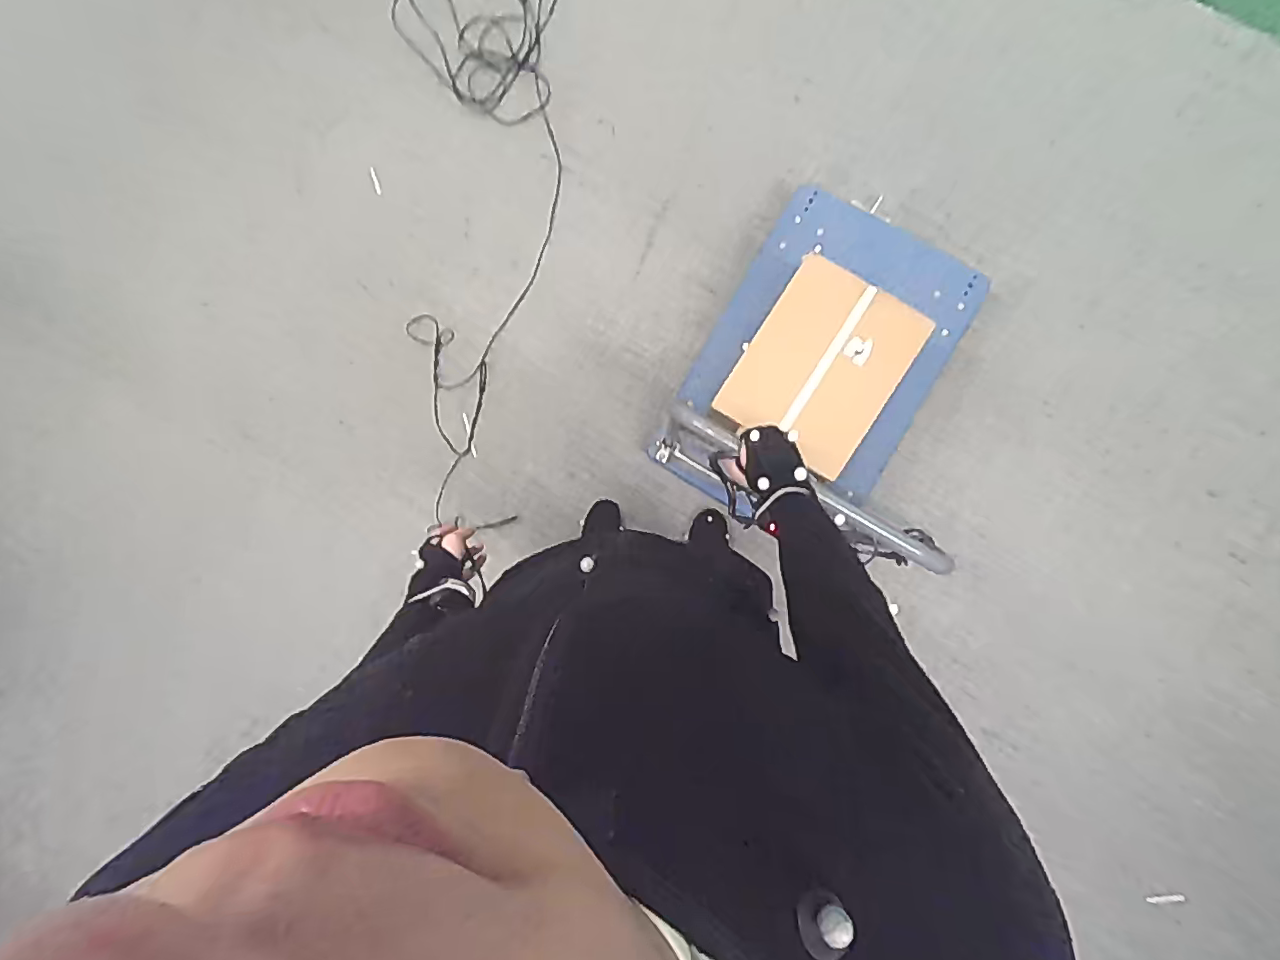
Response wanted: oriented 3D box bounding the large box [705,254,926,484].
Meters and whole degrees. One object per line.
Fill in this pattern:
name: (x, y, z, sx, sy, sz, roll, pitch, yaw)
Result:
large box: (0.391, -0.240, 1.314, 0.320, 0.320, 0.408, 33, 90, 3)
